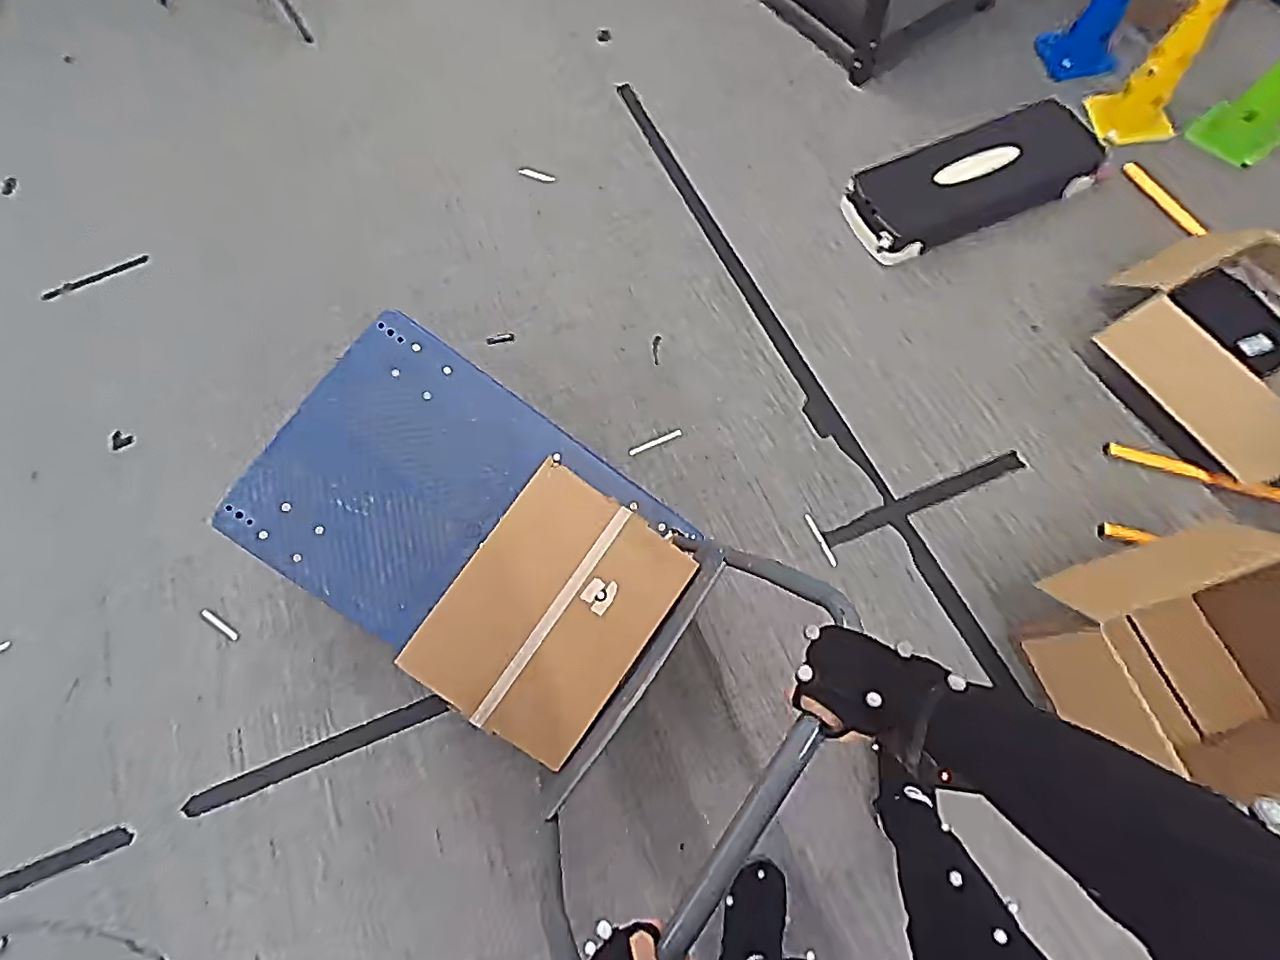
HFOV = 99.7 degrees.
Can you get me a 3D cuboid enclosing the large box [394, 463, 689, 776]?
[{"bbox_3d":[-0.168,0.233,1.011,0.320,0.320,0.408,36,81,-4],"label":"large box"}]
